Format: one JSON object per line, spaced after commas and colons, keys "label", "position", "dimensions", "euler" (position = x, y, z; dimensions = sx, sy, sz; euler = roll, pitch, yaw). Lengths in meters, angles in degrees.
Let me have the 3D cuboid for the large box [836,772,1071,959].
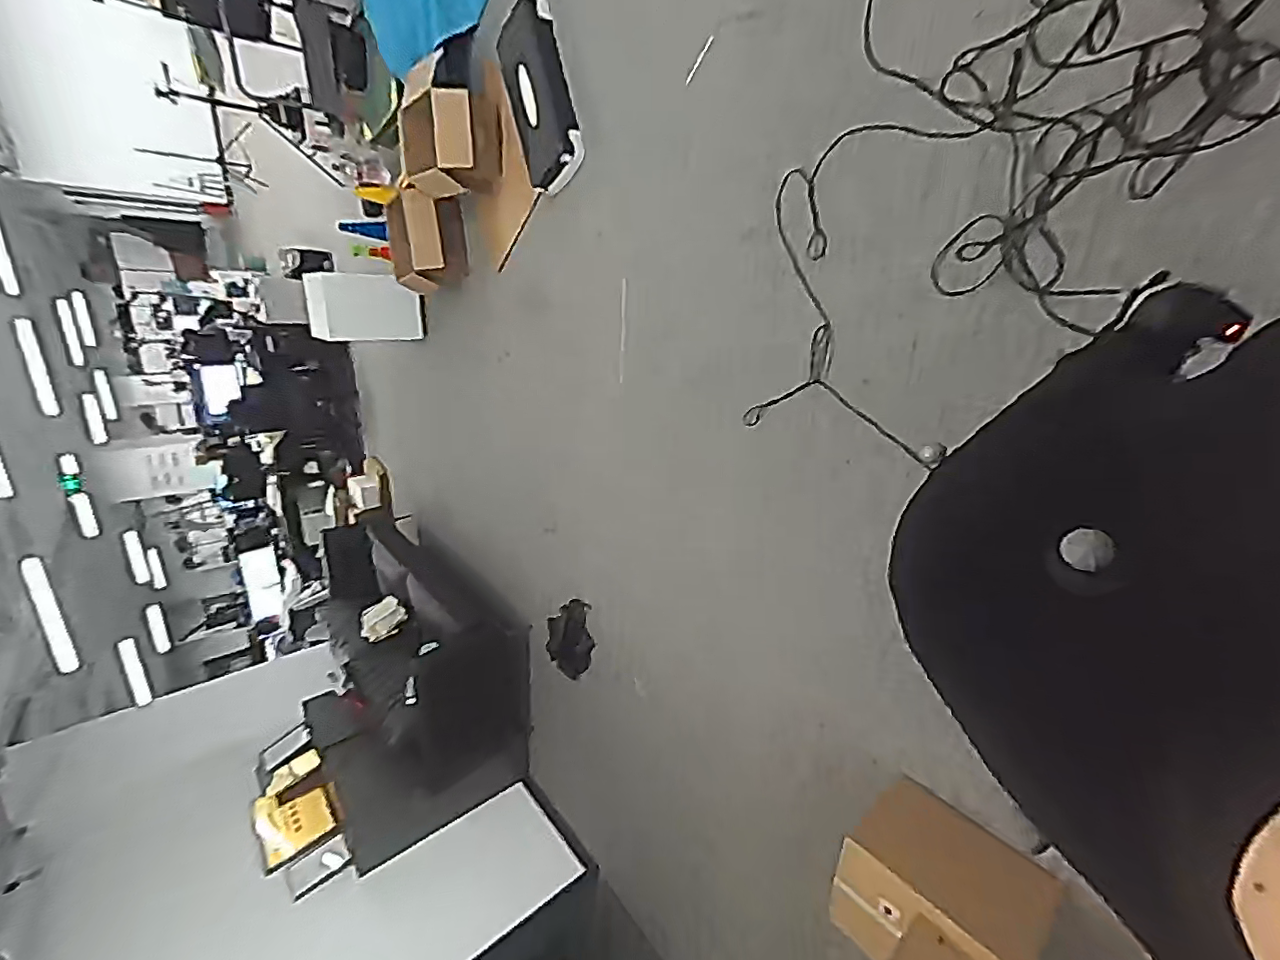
{"label": "large box", "position": [0.783, 1.062, 1.380], "dimensions": [0.408, 0.320, 0.320], "euler": [24, 118, 46]}
